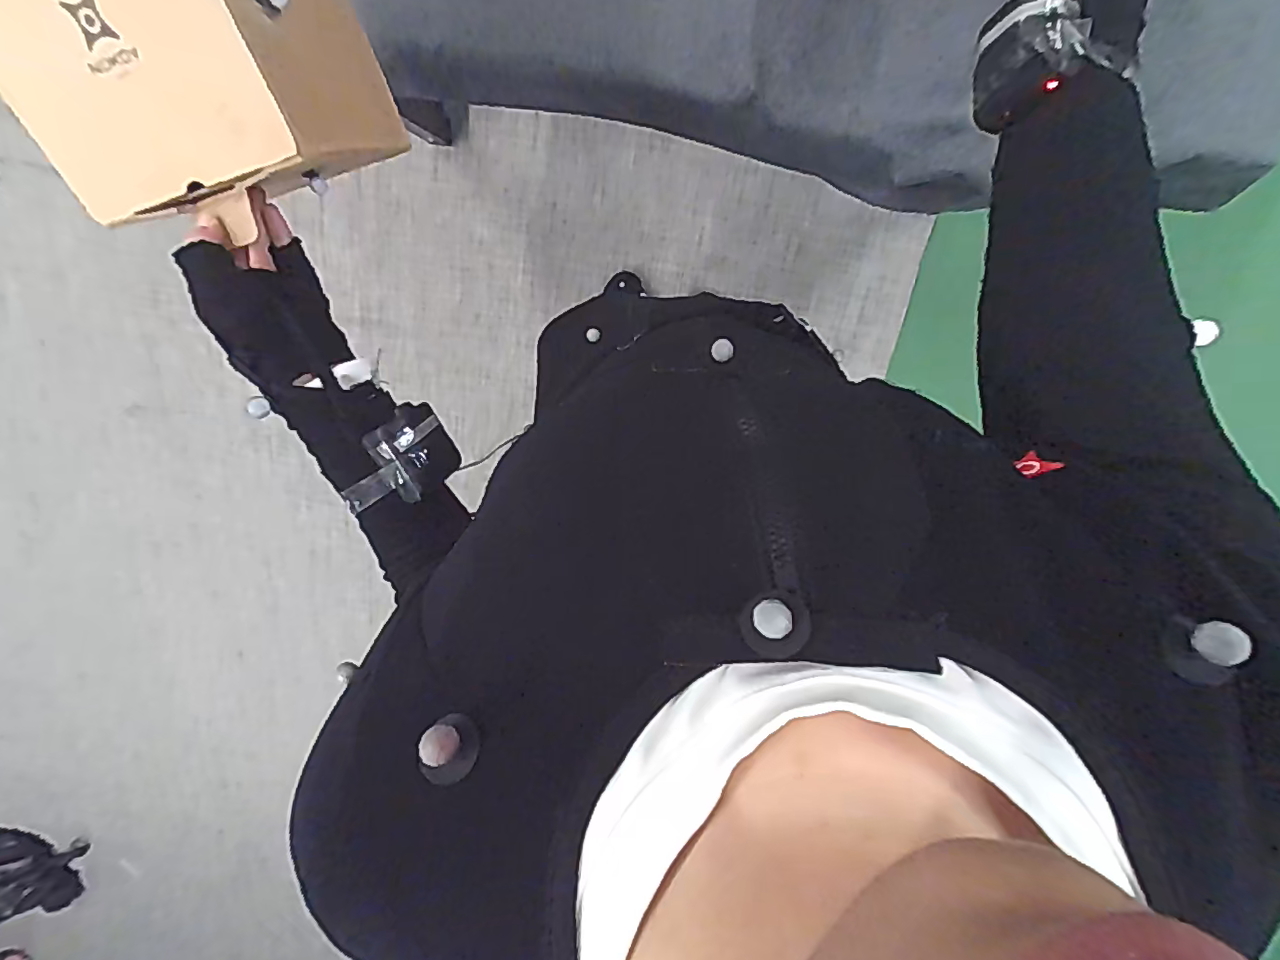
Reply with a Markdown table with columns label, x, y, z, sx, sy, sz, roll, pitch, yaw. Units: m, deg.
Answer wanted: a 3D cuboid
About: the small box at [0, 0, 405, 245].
| label | x | y | z | sx | sy | sz | roll | pitch | yaw |
| --- | --- | --- | --- | --- | --- | --- | --- | --- | --- |
| small box | -0.300 | -0.287 | 0.375 | 0.168 | 0.176 | 0.179 | -12 | 120 | 11 |
